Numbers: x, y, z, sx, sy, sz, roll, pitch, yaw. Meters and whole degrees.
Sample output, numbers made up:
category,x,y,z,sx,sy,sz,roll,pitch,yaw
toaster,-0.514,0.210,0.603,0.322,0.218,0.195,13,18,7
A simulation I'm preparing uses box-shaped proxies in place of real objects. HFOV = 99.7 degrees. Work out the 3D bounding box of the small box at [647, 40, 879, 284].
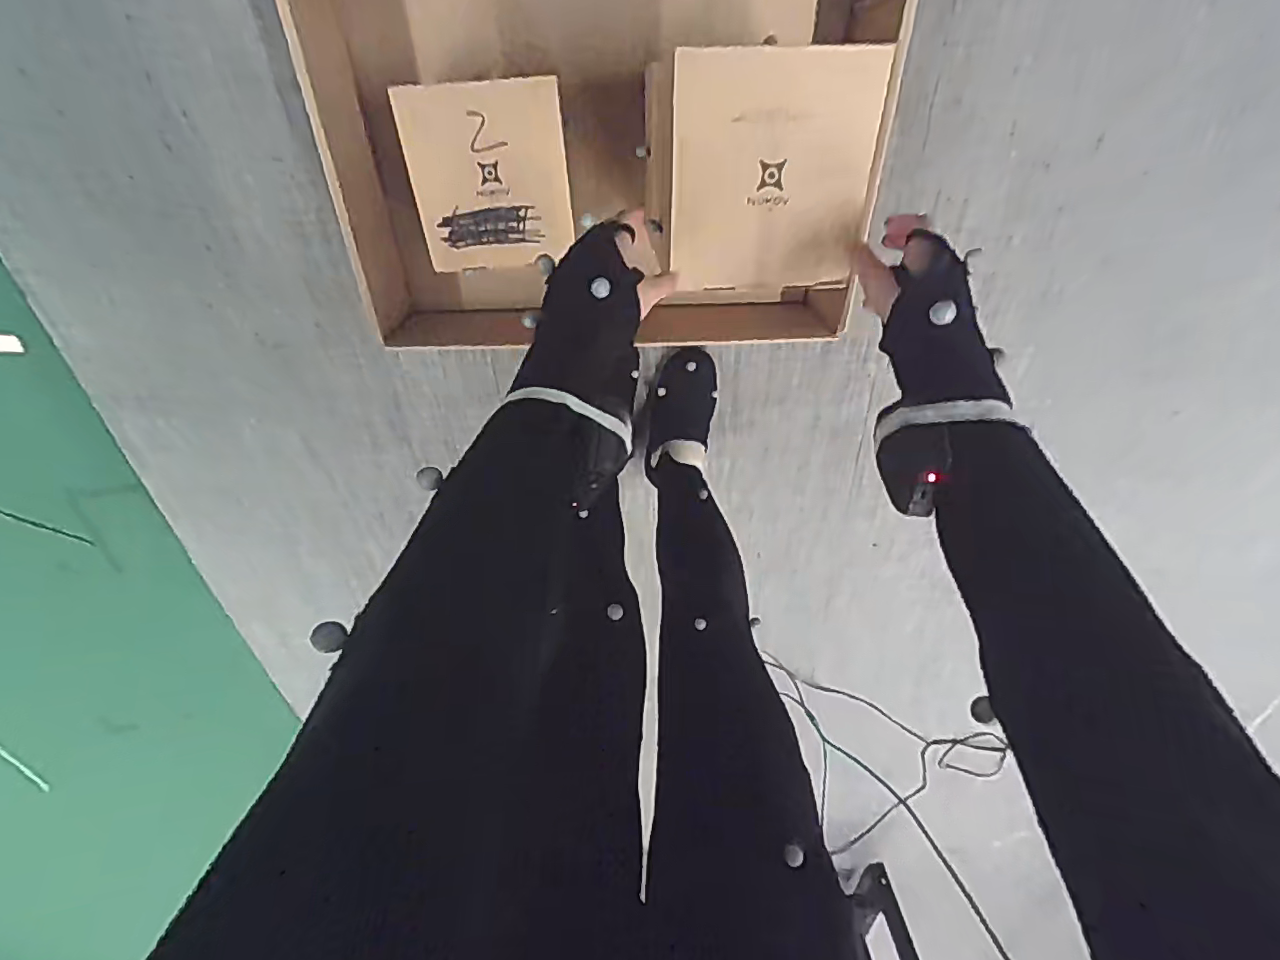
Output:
category,x,y,z,sx,sy,sz,roll,pitch,yaw
small box,0.094,-0.298,0.513,0.168,0.176,0.179,-2,124,-2

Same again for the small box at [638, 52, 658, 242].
category,x,y,z,sx,sy,sz,roll,pitch,yaw
small box,0.083,-0.392,0.645,0.168,0.176,0.179,-1,125,-1
